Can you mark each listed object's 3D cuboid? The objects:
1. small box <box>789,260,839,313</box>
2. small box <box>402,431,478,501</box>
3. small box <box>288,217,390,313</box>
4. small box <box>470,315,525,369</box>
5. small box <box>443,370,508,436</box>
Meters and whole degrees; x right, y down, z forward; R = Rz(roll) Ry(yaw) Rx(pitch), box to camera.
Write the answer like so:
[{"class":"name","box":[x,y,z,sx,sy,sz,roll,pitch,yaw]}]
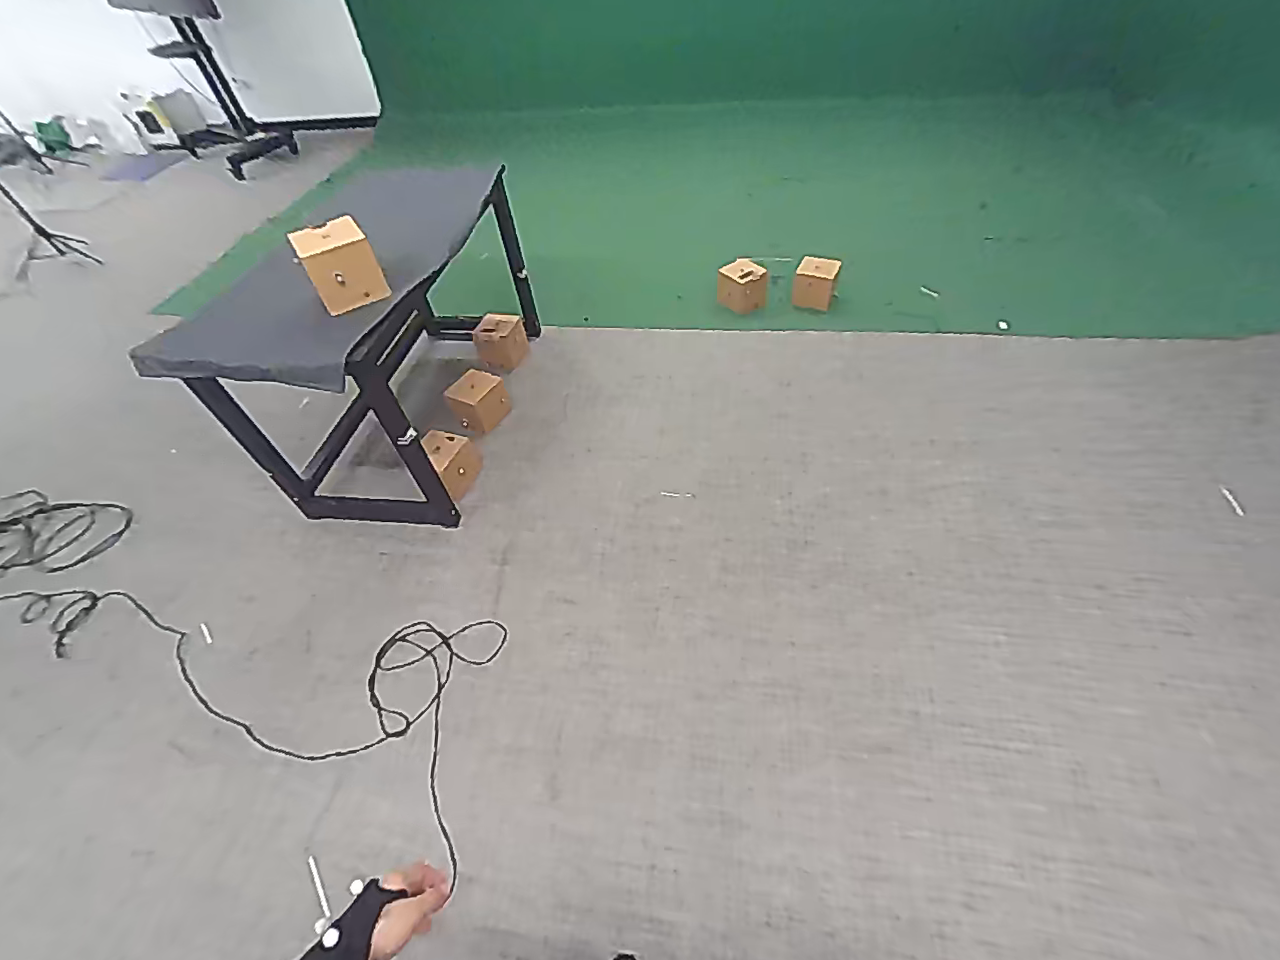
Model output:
[{"class":"small box","box":[0.816,-0.912,2.556,0.179,0.176,0.168,19,54,20]},{"class":"small box","box":[-0.713,-0.047,1.955,0.168,0.176,0.179,13,53,15]},{"class":"small box","box":[-0.802,-0.572,1.452,0.168,0.176,0.179,-30,53,-19]},{"class":"small box","box":[-0.633,-0.619,2.436,0.168,0.176,0.179,8,50,11]},{"class":"small box","box":[-0.652,-0.310,2.174,0.168,0.176,0.179,19,55,21]}]
